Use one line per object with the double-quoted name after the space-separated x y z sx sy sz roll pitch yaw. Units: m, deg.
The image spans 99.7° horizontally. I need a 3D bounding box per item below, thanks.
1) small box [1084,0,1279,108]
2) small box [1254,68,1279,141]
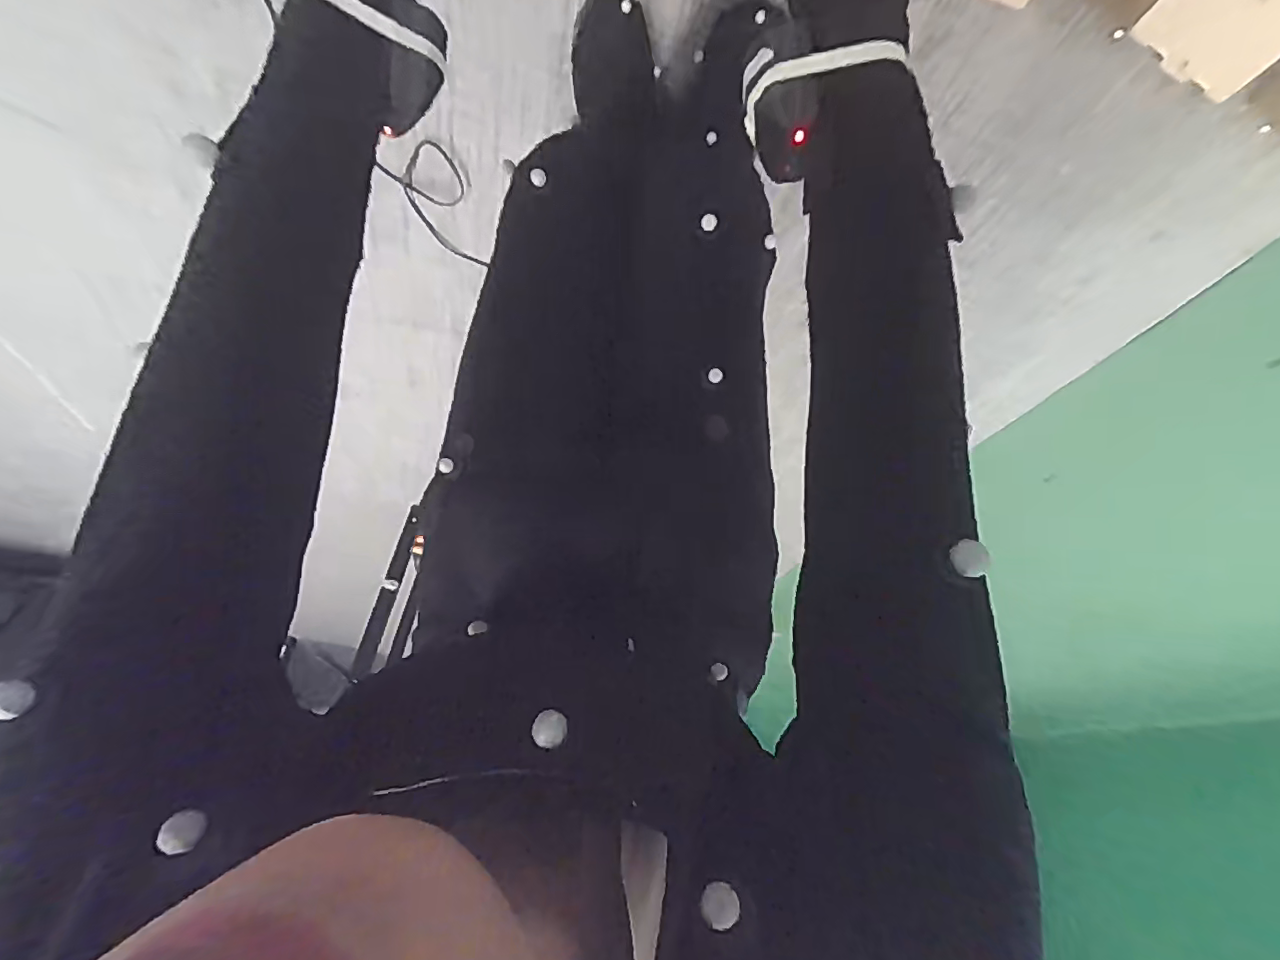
0.621 -0.557 0.572 0.168 0.176 0.179 17 147 -17 "small box"
0.919 -0.475 0.651 0.168 0.176 0.179 14 146 -13 "small box"
